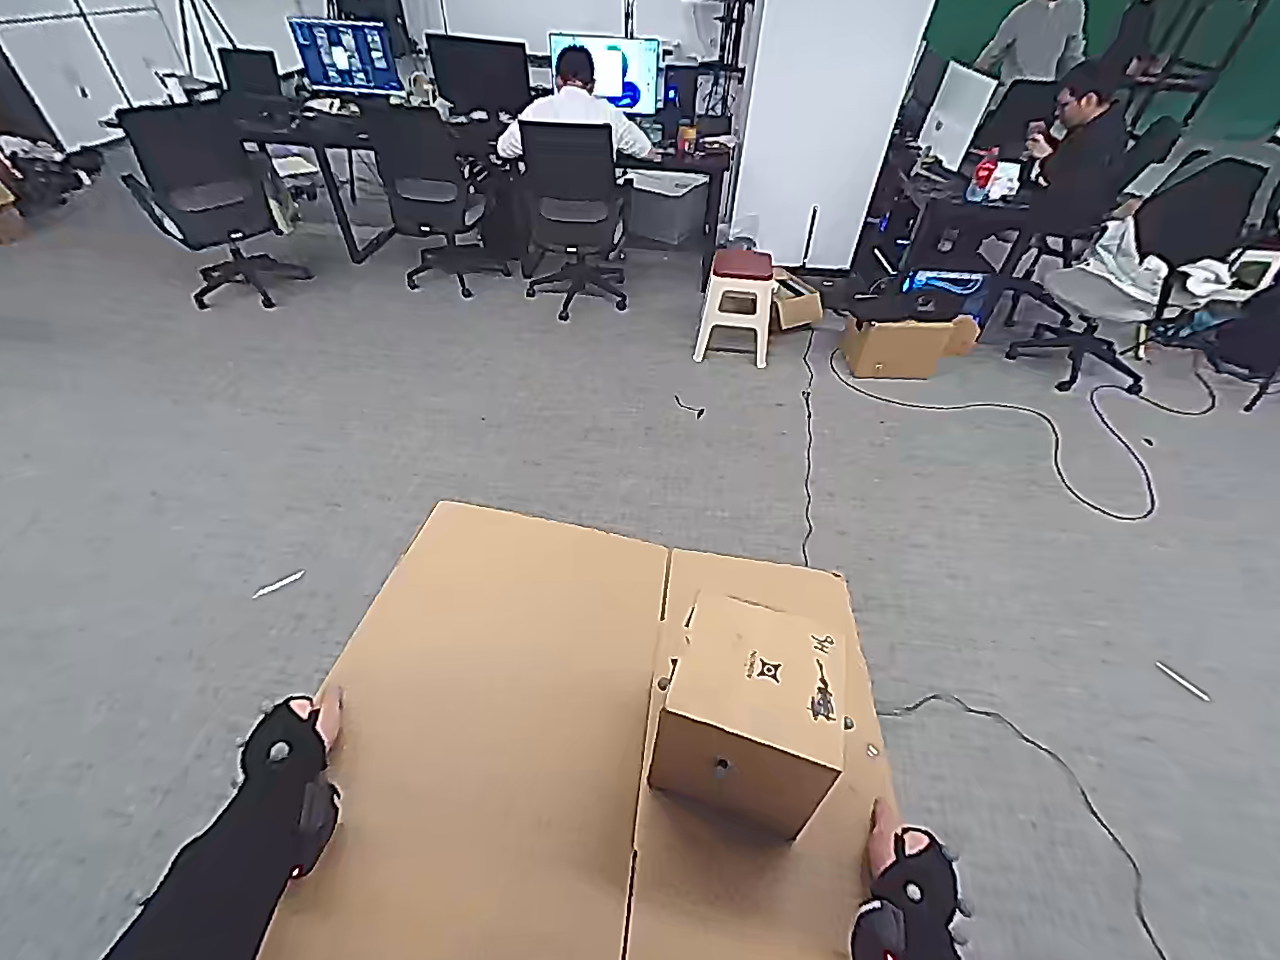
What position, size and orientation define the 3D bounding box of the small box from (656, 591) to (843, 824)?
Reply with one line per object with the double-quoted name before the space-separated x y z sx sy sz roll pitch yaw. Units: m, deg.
"small box" 0.123 0.263 0.629 0.179 0.176 0.168 14 40 12
